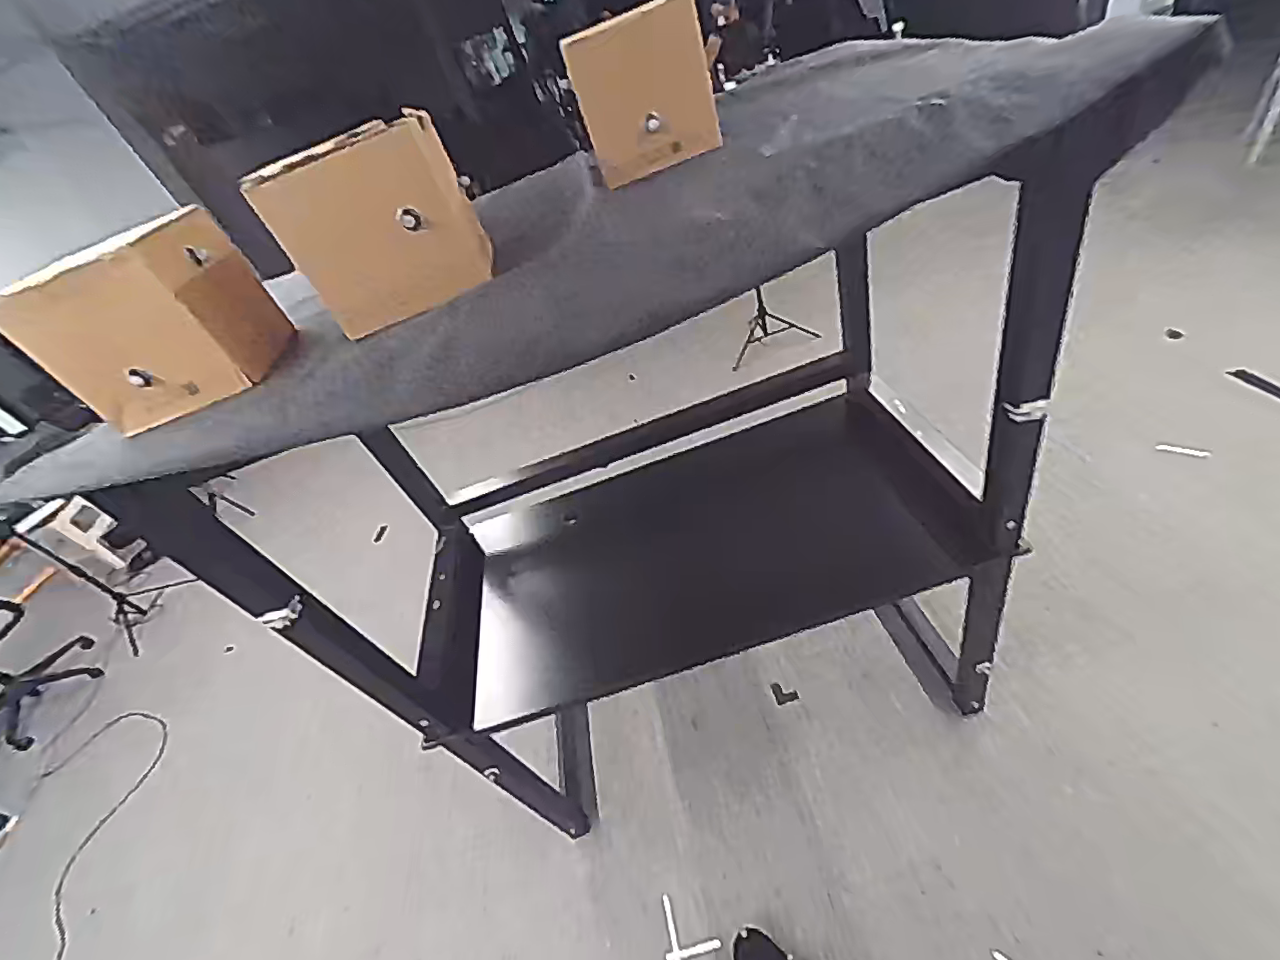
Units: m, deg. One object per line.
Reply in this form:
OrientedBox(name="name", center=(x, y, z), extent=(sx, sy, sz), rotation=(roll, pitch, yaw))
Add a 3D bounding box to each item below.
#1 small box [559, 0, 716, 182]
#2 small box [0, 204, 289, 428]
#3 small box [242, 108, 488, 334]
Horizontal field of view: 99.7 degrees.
OrientedBox(name="small box", center=(-0.005, -0.542, 0.754), extent=(0.168, 0.176, 0.179), rotation=(-19, 40, 7))
OrientedBox(name="small box", center=(-0.553, -0.190, 0.629), extent=(0.168, 0.176, 0.179), rotation=(-22, 40, 1))
OrientedBox(name="small box", center=(-0.290, -0.297, 0.622), extent=(0.179, 0.176, 0.168), rotation=(-21, 38, 2))
